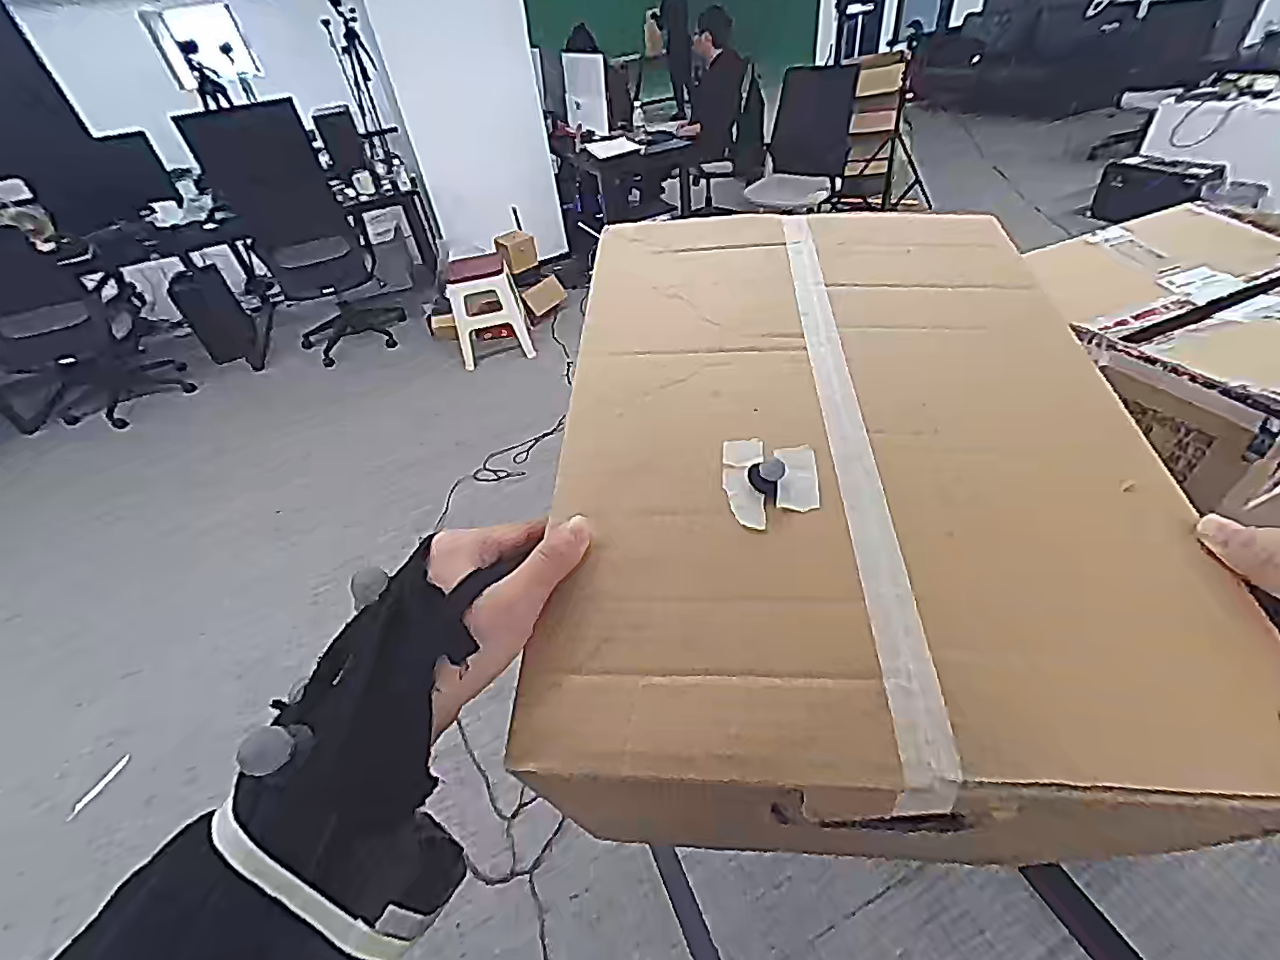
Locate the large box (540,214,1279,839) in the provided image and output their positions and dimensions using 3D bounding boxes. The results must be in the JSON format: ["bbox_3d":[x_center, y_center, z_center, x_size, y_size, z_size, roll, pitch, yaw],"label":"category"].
[{"bbox_3d":[0.124,0.036,0.439,0.320,0.320,0.408,0,53,5],"label":"large box"}]
